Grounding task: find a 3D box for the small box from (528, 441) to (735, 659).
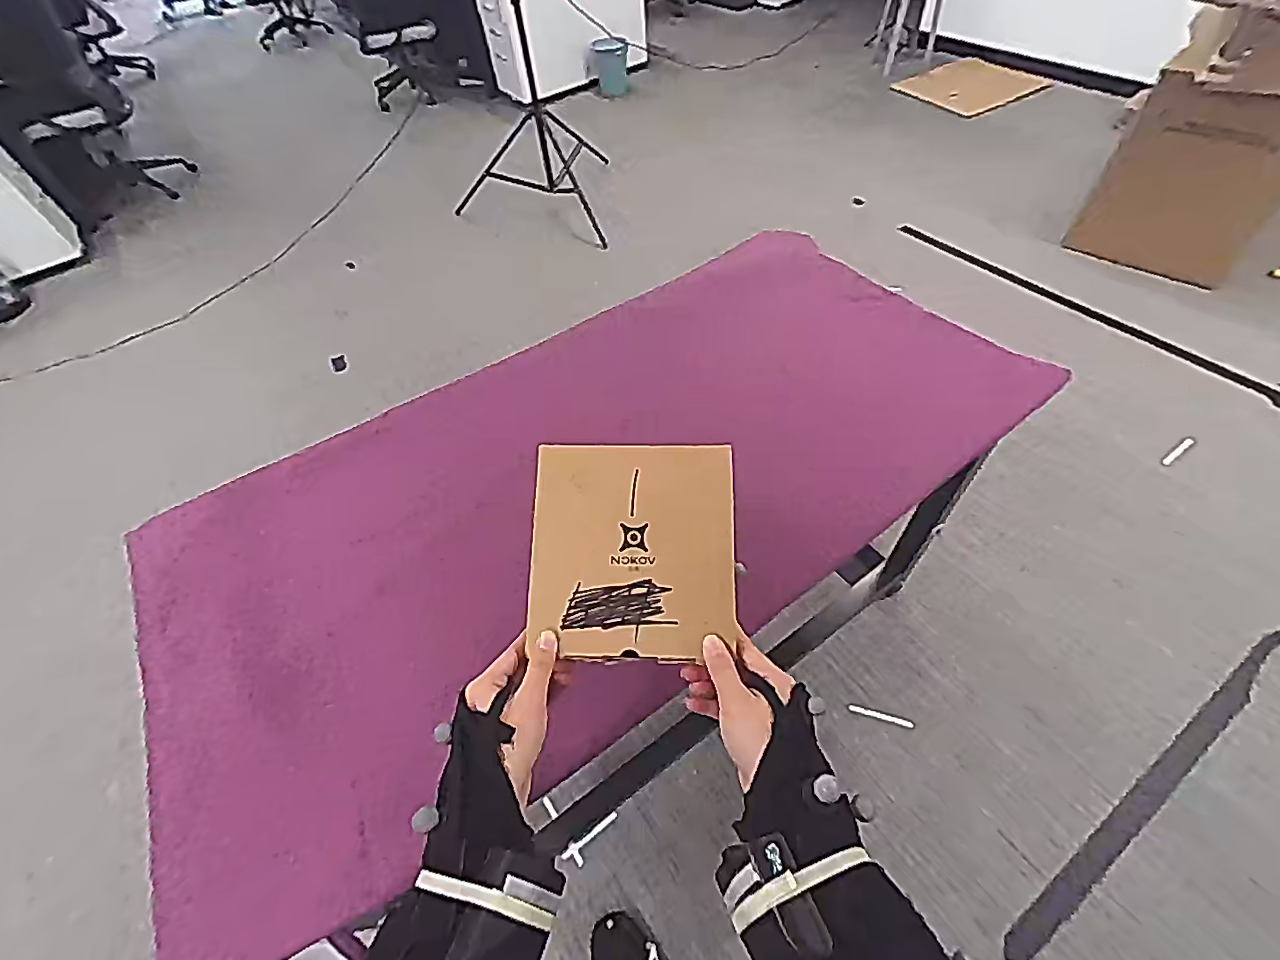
[{"bbox_3d":[0.000,0.071,0.516,0.168,0.176,0.179,1,75,3],"label":"small box"}]
